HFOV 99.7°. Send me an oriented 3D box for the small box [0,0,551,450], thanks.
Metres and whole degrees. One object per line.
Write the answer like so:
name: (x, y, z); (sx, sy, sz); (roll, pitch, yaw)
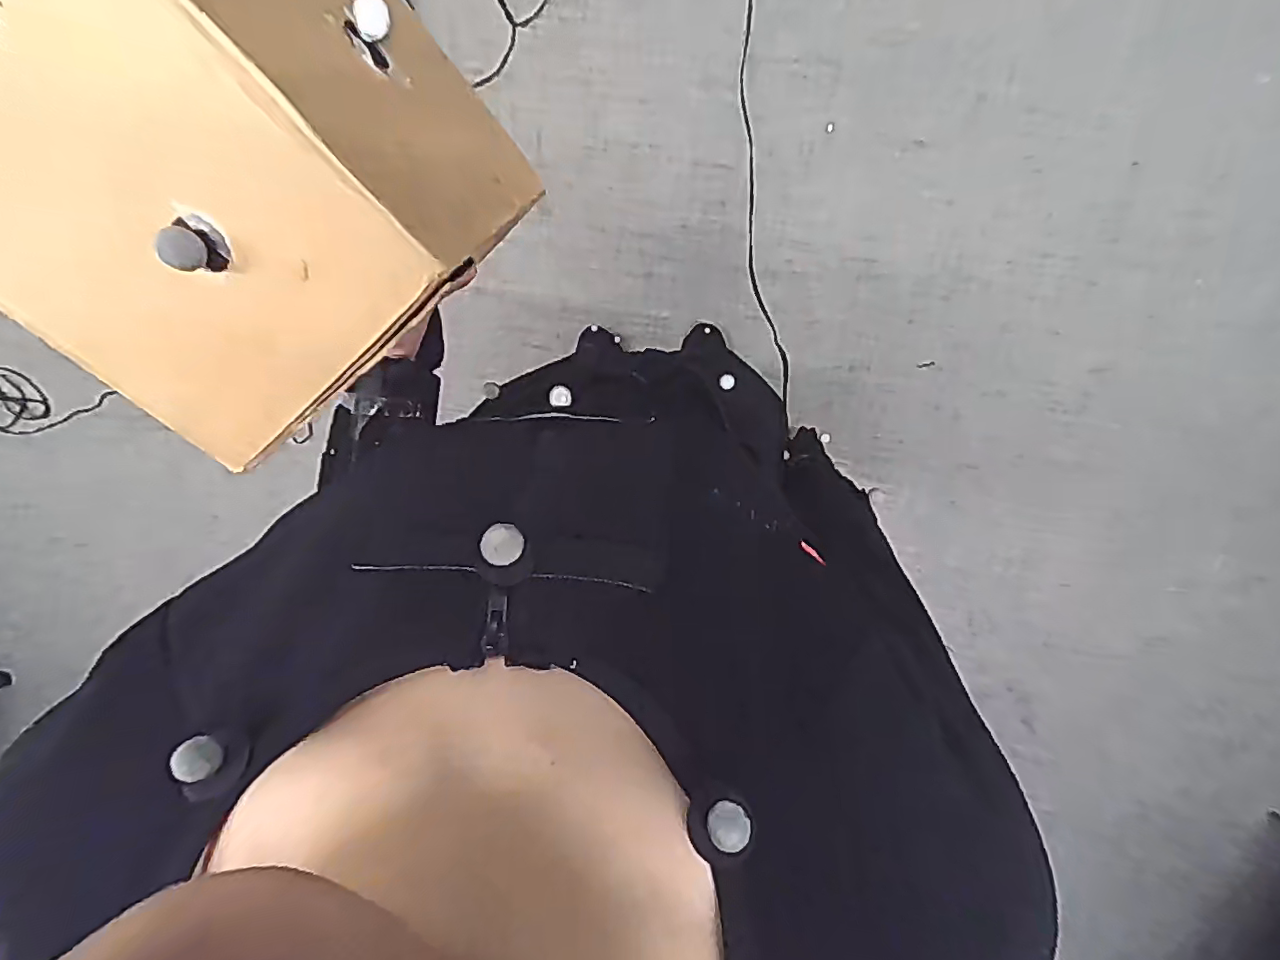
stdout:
small box: (-0.177, -0.154, 0.272); (0.179, 0.168, 0.176); (-29, 120, 27)
